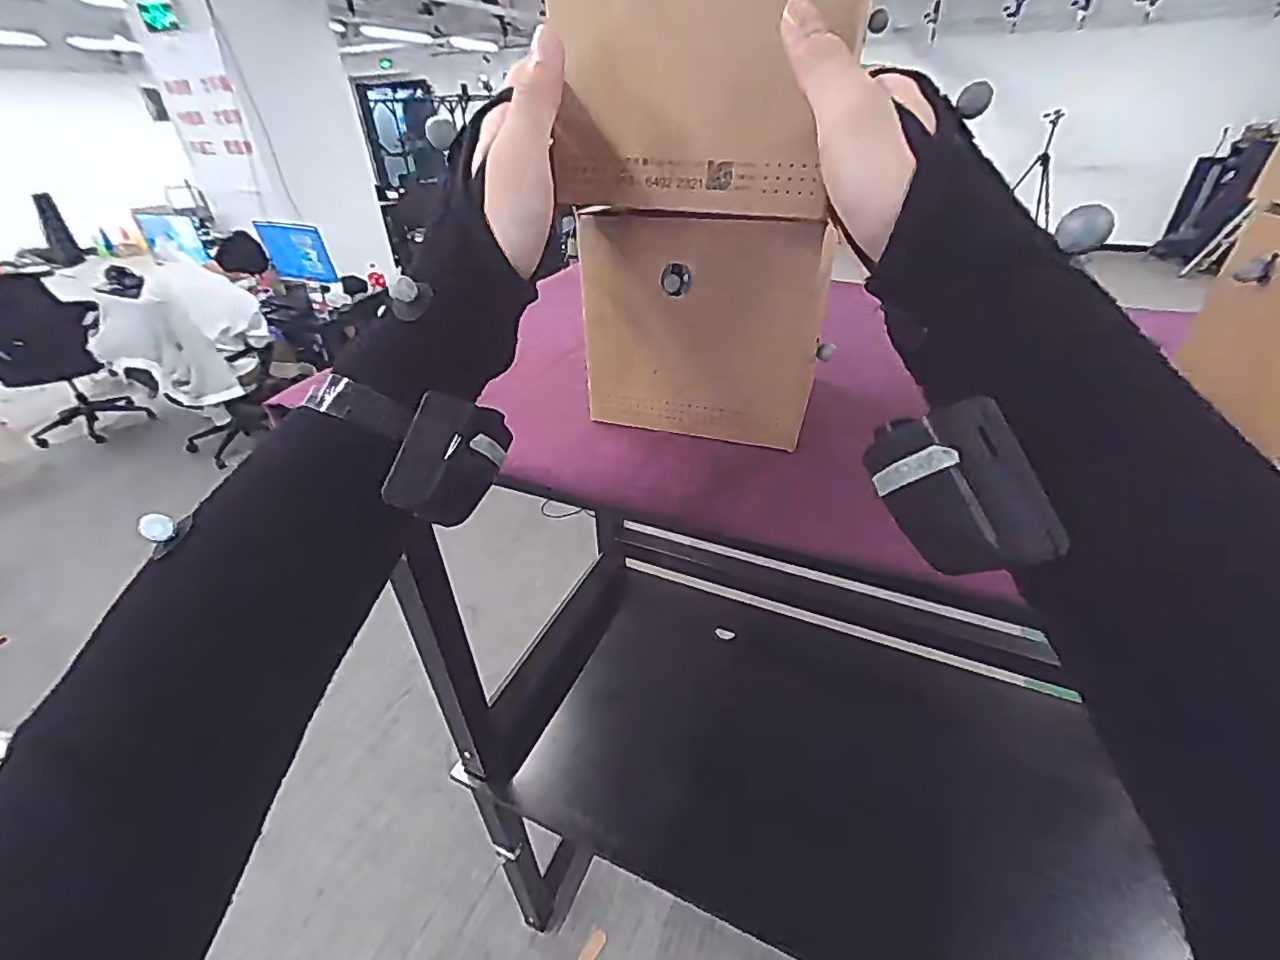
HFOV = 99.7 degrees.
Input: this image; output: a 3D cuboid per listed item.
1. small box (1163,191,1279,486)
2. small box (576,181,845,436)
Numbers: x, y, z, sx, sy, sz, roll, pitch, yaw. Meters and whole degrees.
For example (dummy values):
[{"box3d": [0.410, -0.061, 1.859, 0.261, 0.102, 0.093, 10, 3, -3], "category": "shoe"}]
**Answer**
[{"box3d": [0.493, -0.083, 0.346, 0.168, 0.176, 0.179, 15, 36, 24], "category": "small box"}, {"box3d": [0.064, -0.151, 0.460, 0.179, 0.176, 0.168, 11, 36, 18], "category": "small box"}]
